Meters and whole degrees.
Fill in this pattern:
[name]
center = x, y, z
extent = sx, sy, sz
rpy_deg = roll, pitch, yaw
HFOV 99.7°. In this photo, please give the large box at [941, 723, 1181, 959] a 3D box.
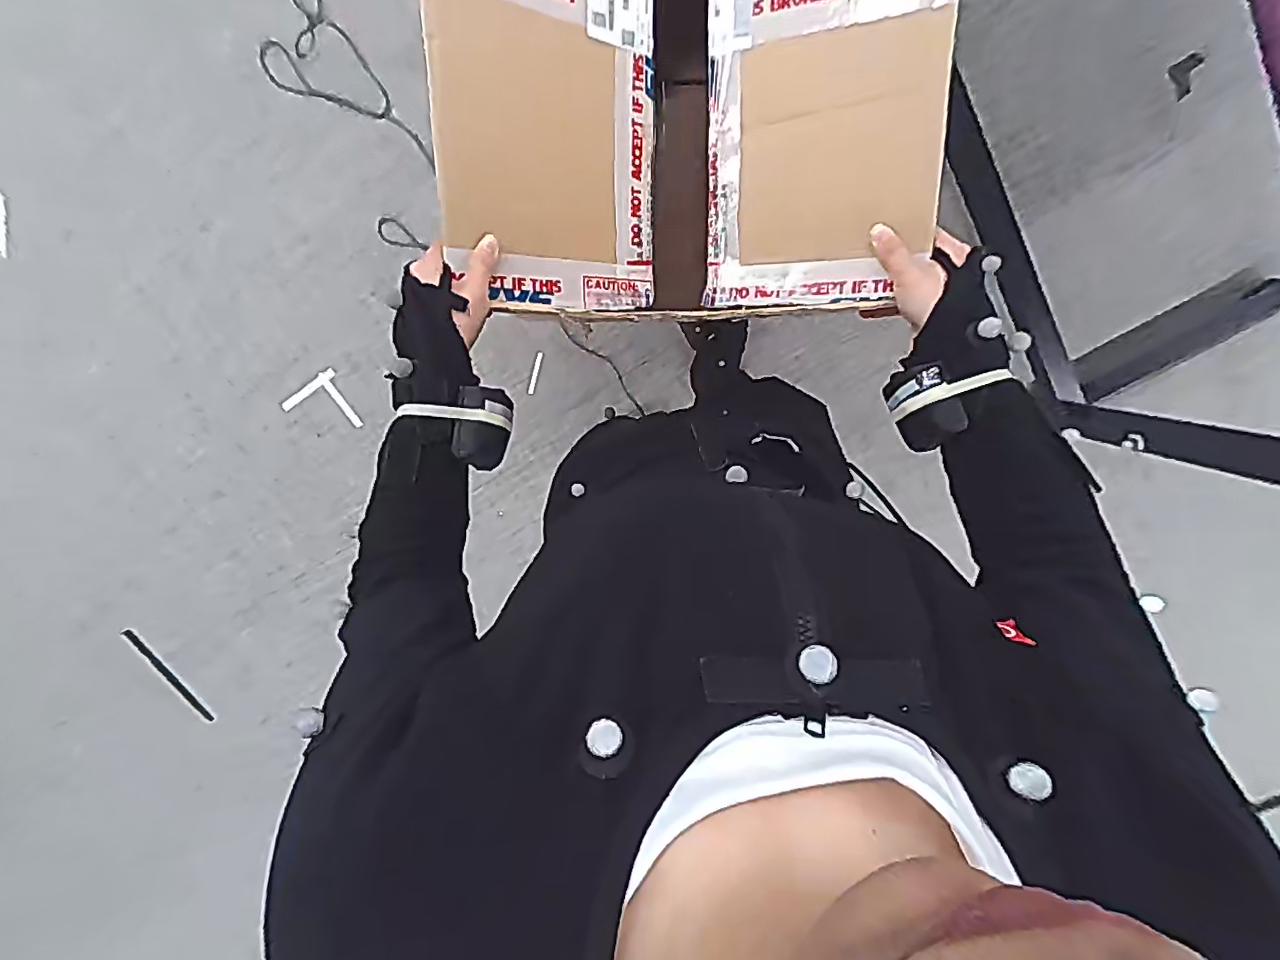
[large box]
center = 1.103, 0.960, 1.457
extent = 0.320, 0.320, 0.408
rpy_deg = -31, 101, 9
